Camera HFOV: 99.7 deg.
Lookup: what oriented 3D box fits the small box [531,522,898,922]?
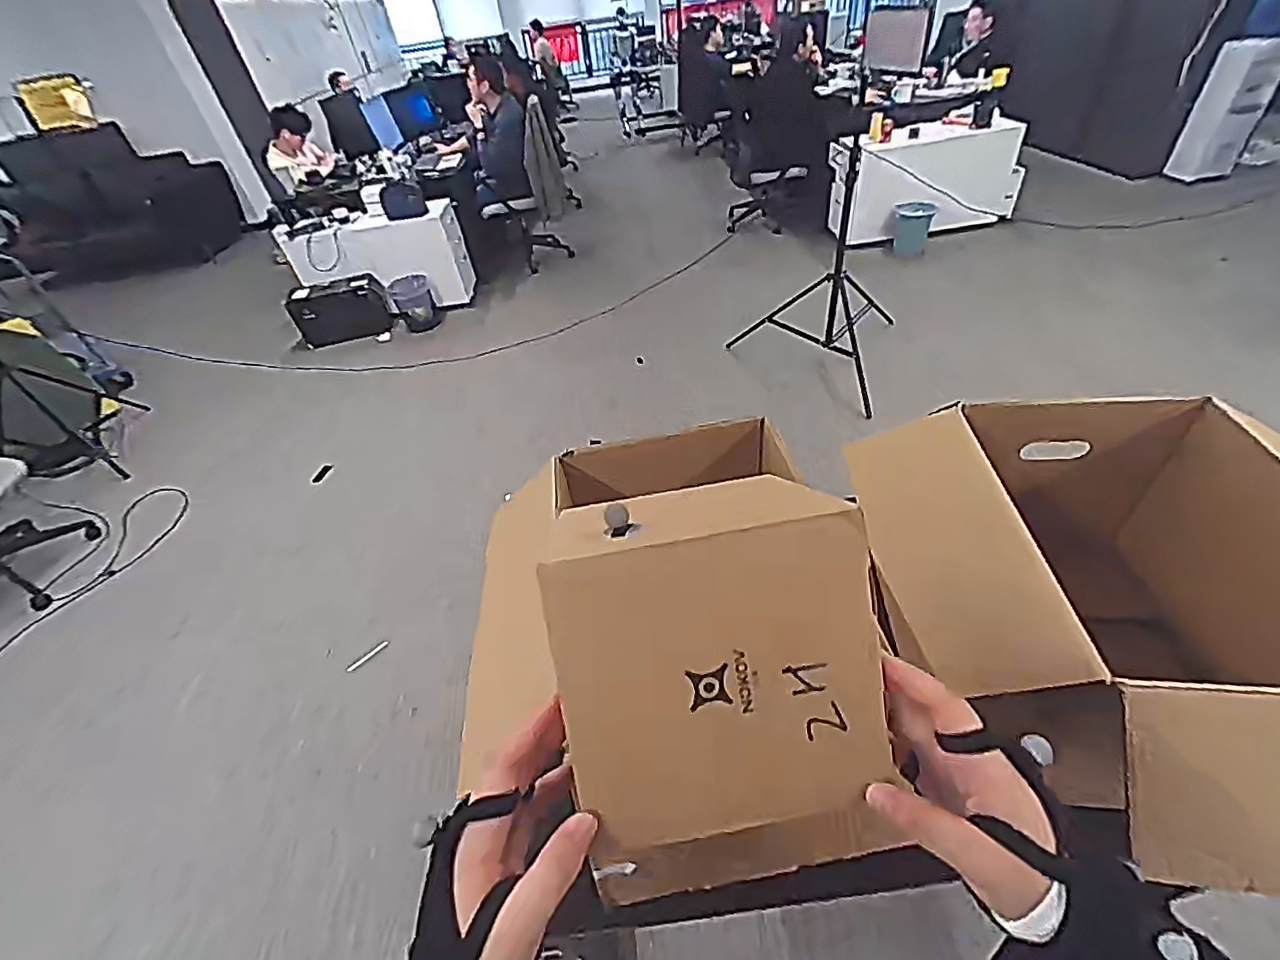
[{"bbox_3d":[0.038,0.131,0.356,0.179,0.168,0.176,-8,7,-2],"label":"small box"}]
